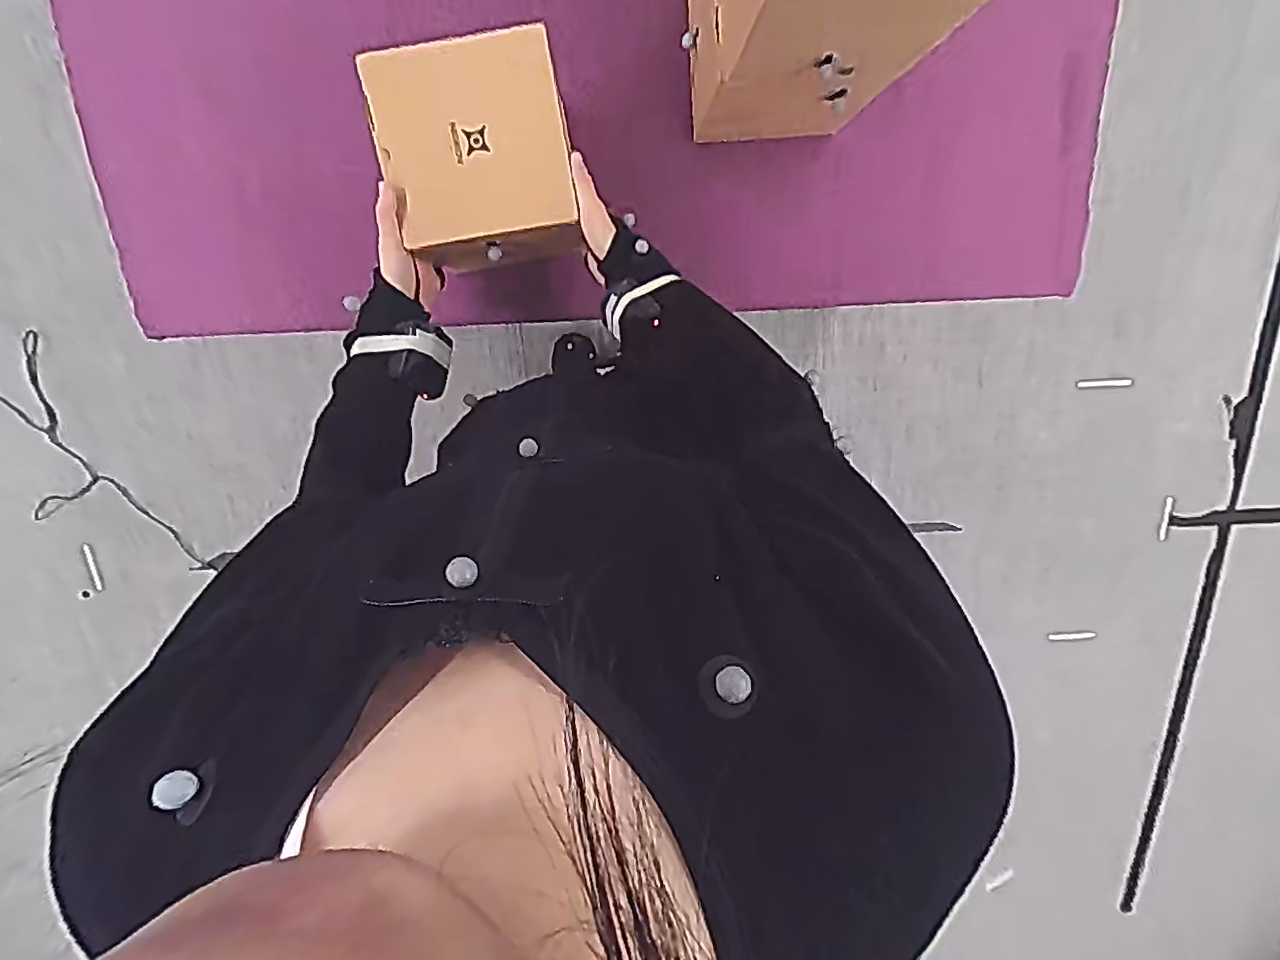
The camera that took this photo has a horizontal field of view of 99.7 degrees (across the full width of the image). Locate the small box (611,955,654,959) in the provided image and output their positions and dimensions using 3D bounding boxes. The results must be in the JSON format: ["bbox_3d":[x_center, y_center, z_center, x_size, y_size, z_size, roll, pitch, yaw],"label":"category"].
[{"bbox_3d":[-0.023,1.866,1.958,0.168,0.176,0.179,-5,106,-1],"label":"small box"}]

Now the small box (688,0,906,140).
[{"bbox_3d":[0.149,-0.473,0.557,0.179,0.176,0.168,-4,105,-1],"label":"small box"}]

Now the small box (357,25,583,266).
[{"bbox_3d":[-0.159,-0.336,0.579,0.179,0.176,0.168,-9,104,1],"label":"small box"}]
